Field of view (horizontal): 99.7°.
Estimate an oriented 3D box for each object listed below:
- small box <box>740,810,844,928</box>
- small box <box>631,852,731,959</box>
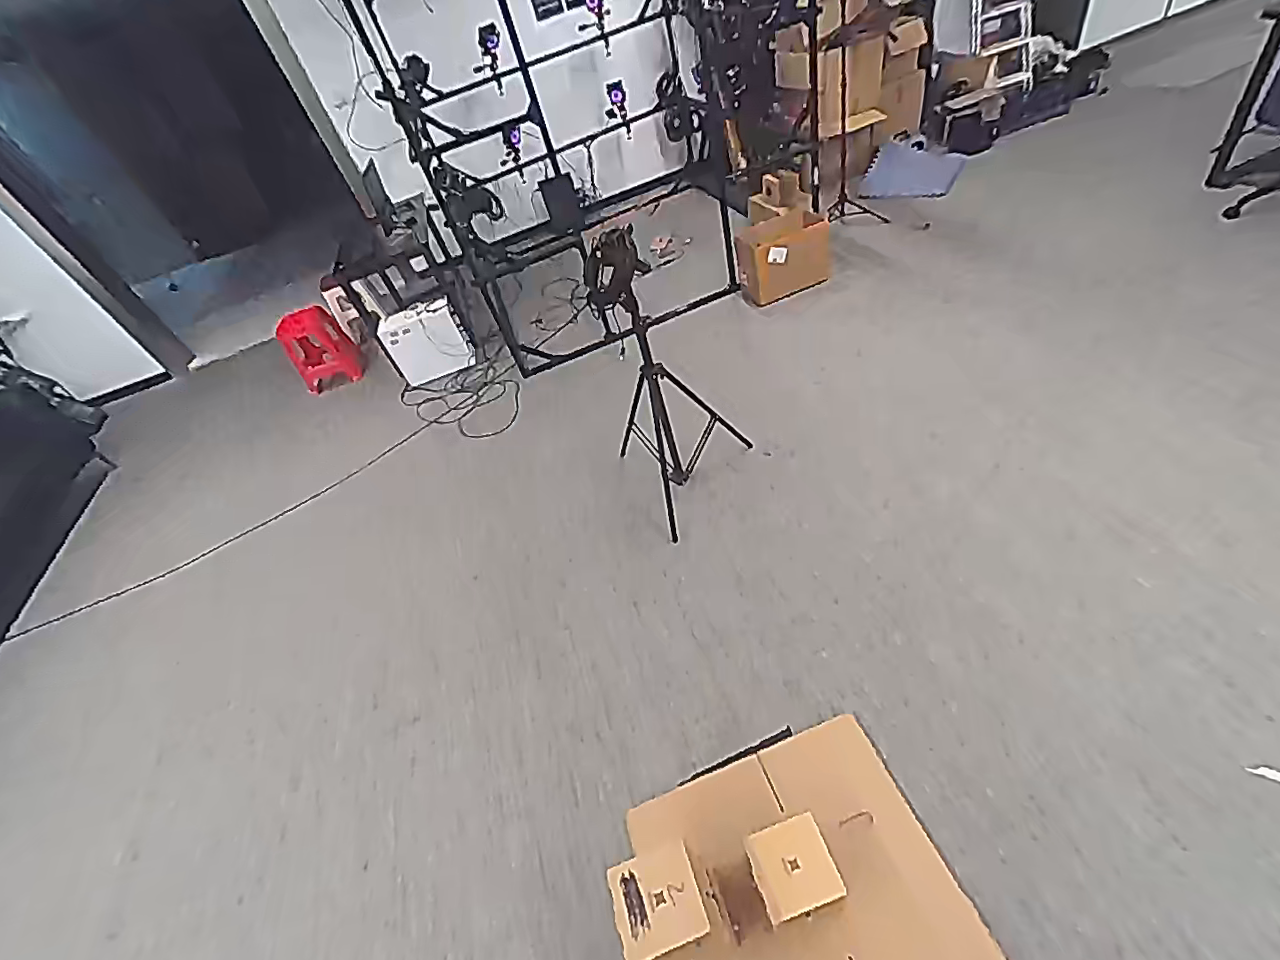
[{"bbox_3d":[0.348,0.901,1.252,0.179,0.176,0.168,-21,44,-2],"label":"small box"},{"bbox_3d":[0.100,0.995,1.243,0.179,0.176,0.168,-23,43,-2],"label":"small box"}]
